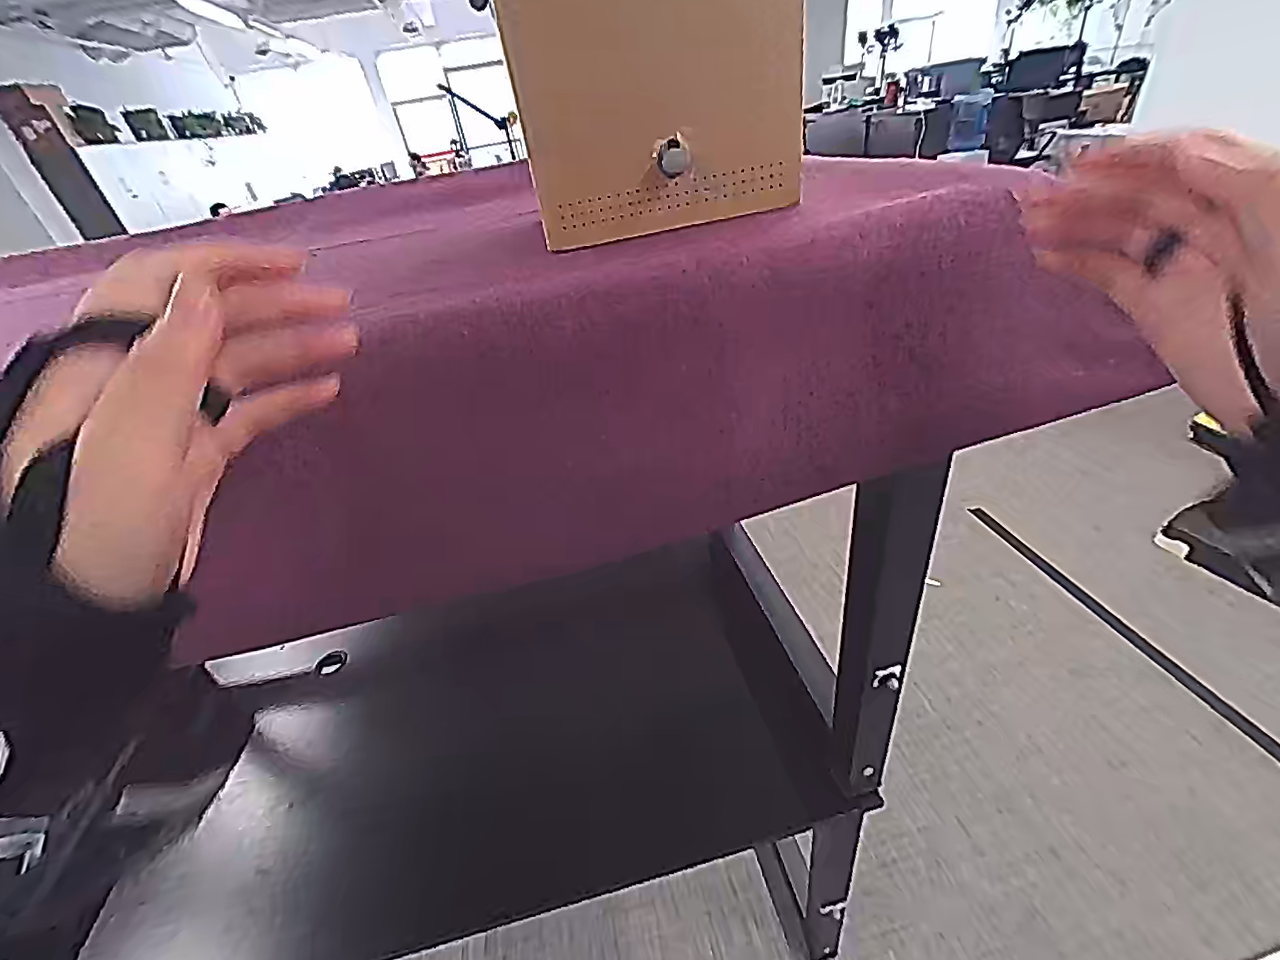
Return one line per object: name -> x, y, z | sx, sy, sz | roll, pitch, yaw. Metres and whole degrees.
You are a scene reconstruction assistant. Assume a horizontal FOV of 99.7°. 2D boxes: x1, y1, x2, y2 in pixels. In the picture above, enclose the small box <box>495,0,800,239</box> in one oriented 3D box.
small box -> 0.001, -0.283, 0.377 | 0.179, 0.176, 0.168 | -13, 34, -4
